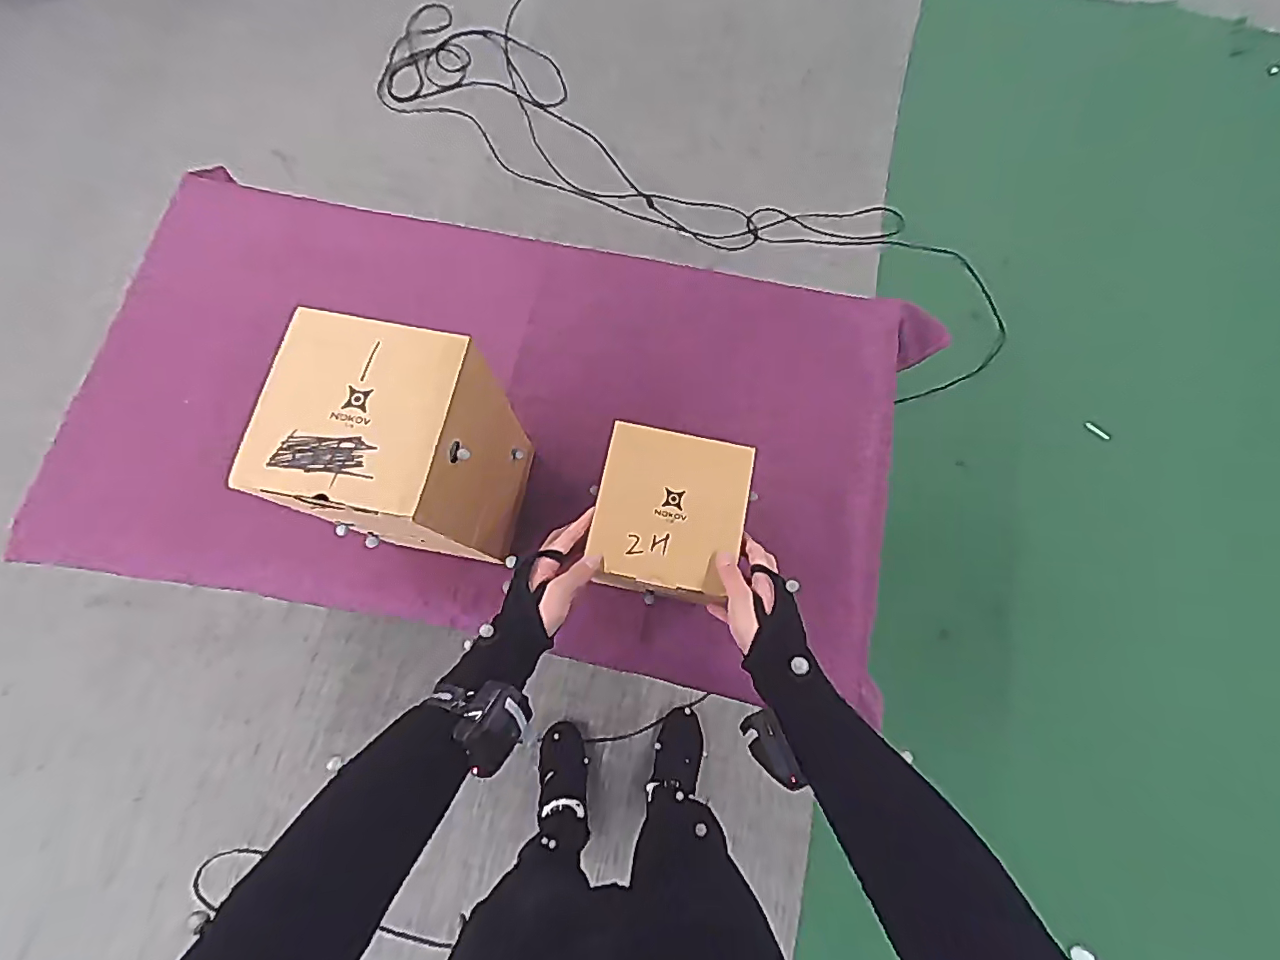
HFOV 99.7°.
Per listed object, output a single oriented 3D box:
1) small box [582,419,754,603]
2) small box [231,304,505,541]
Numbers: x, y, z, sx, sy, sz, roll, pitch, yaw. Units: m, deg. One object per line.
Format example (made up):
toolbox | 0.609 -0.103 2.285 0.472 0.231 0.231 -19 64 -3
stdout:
small box | 0.032 0.048 0.675 0.168 0.176 0.179 12 76 3
small box | -0.249 -0.045 0.549 0.168 0.176 0.179 11 74 2
